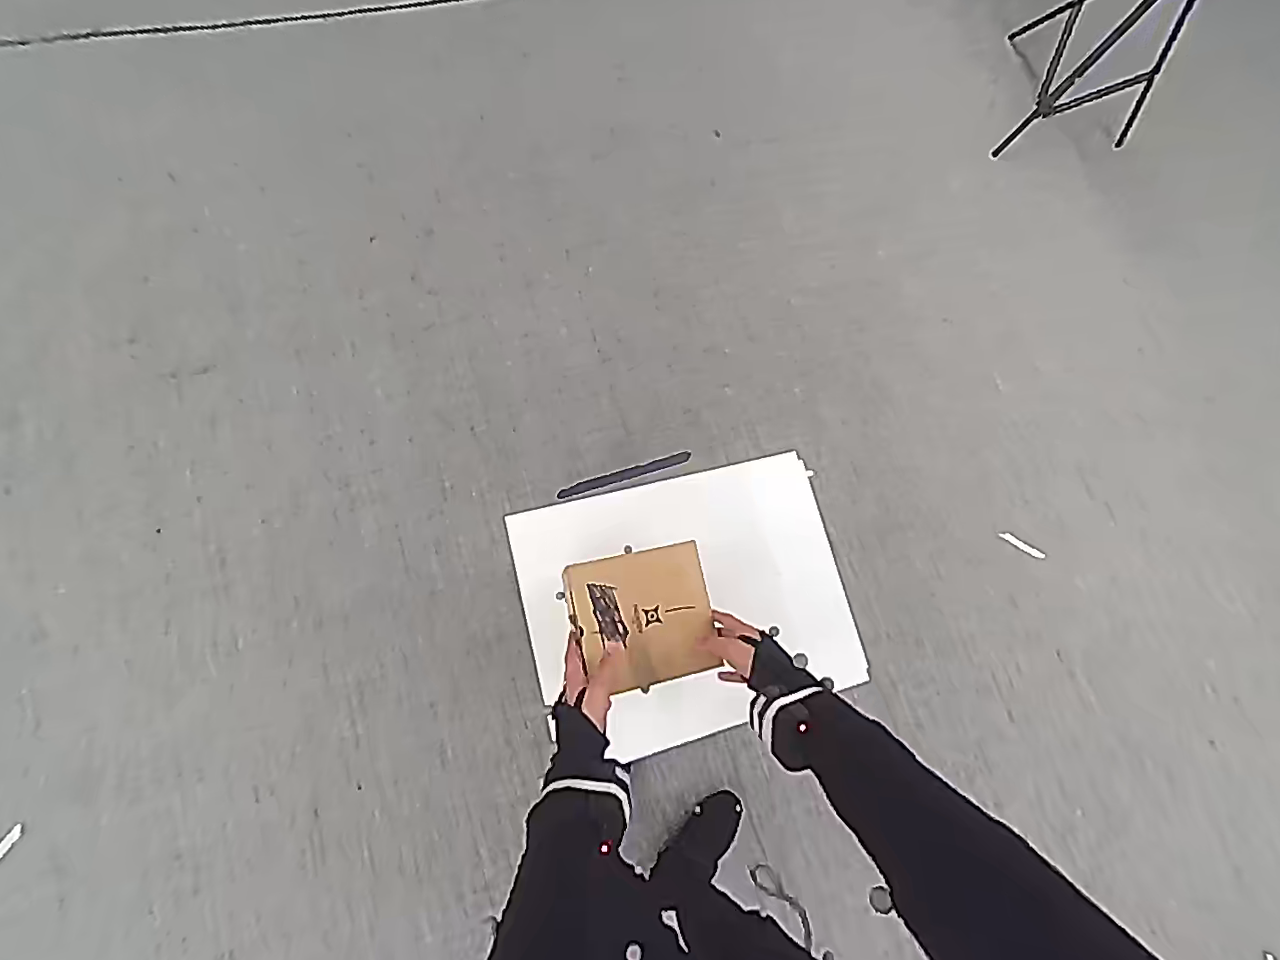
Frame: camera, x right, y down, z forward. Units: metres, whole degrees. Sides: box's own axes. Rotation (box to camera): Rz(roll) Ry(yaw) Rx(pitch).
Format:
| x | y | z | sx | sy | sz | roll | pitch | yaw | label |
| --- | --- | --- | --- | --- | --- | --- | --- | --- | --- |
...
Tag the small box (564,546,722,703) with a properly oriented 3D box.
| x | y | z | sx | sy | sz | roll | pitch | yaw | label |
| --- | --- | --- | --- | --- | --- | --- | --- | --- | --- |
| -0.008 | 0.197 | 0.755 | 0.179 | 0.176 | 0.168 | -9 | 78 | -13 | small box |
